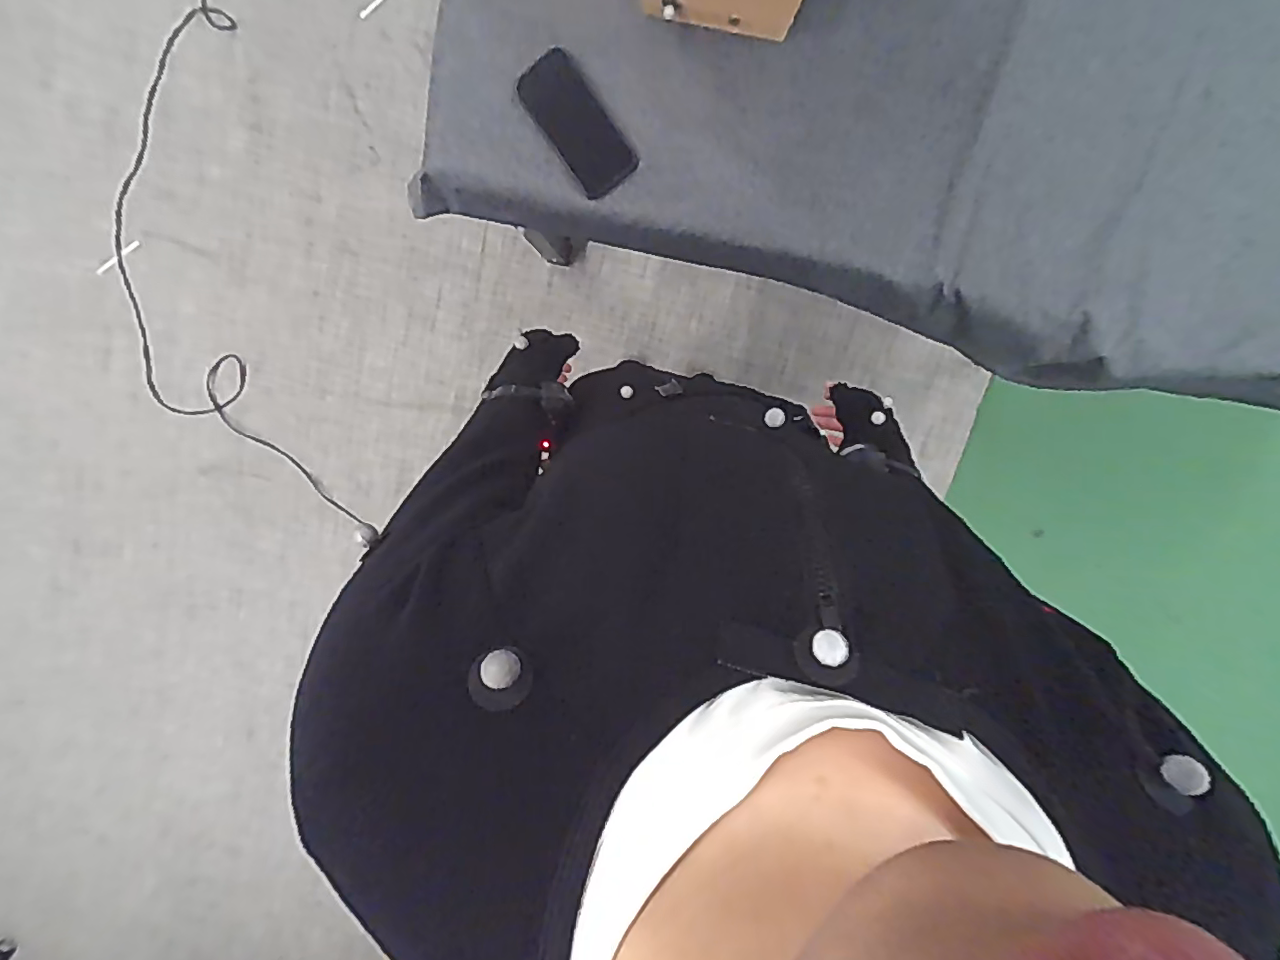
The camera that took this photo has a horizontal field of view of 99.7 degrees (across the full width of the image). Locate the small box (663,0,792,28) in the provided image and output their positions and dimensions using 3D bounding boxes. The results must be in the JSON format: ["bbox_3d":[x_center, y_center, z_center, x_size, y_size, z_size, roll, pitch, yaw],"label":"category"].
[{"bbox_3d":[0.094,-0.584,0.514,0.168,0.176,0.179,9,102,-3],"label":"small box"}]
